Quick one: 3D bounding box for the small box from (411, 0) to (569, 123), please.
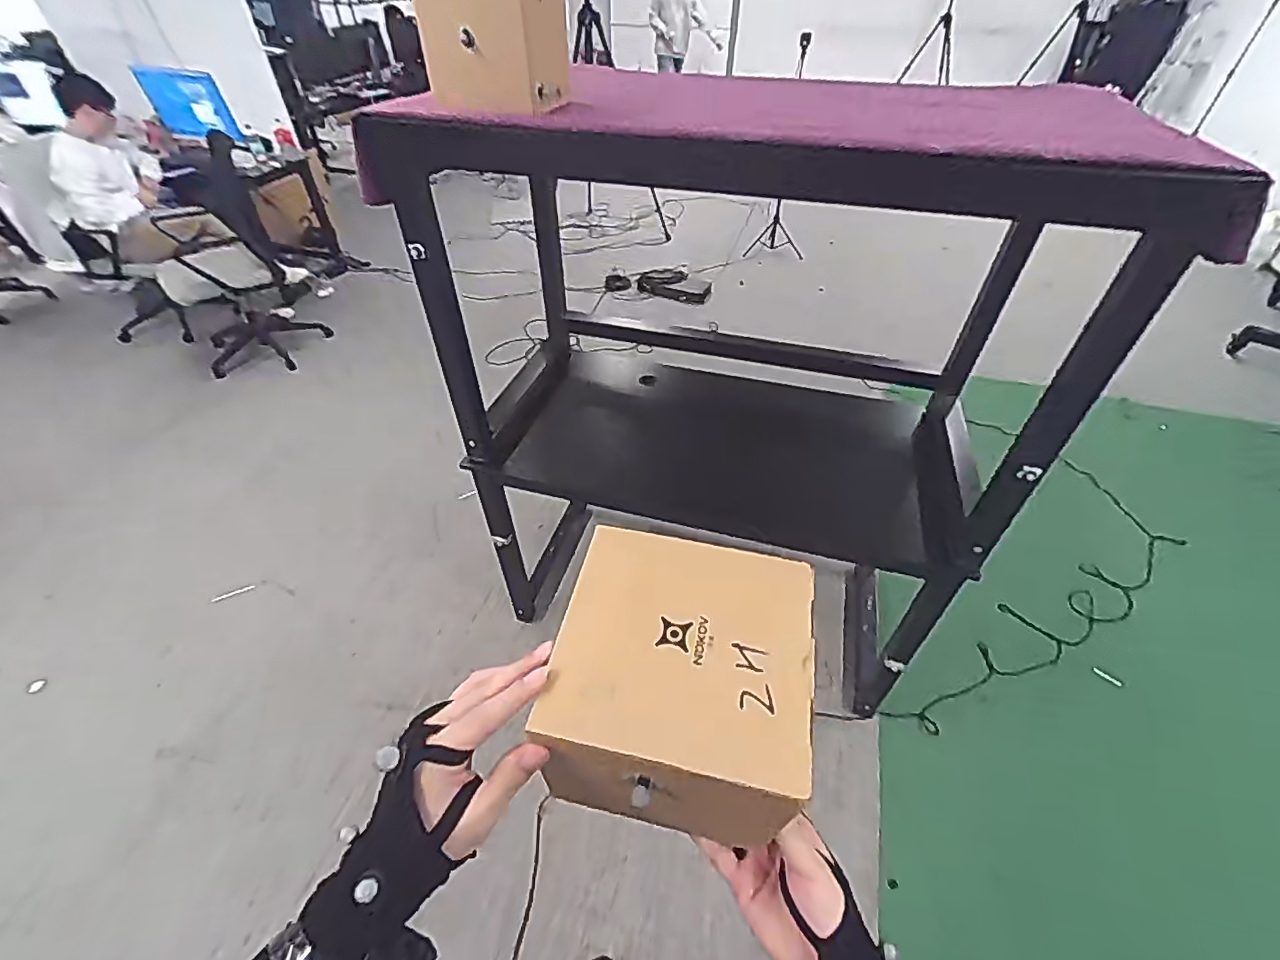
[{"bbox_3d":[-0.225,-0.681,0.858,0.179,0.176,0.168,10,44,12],"label":"small box"}]

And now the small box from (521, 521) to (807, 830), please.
[{"bbox_3d":[0.027,0.159,0.437,0.179,0.176,0.168,10,49,9],"label":"small box"}]
